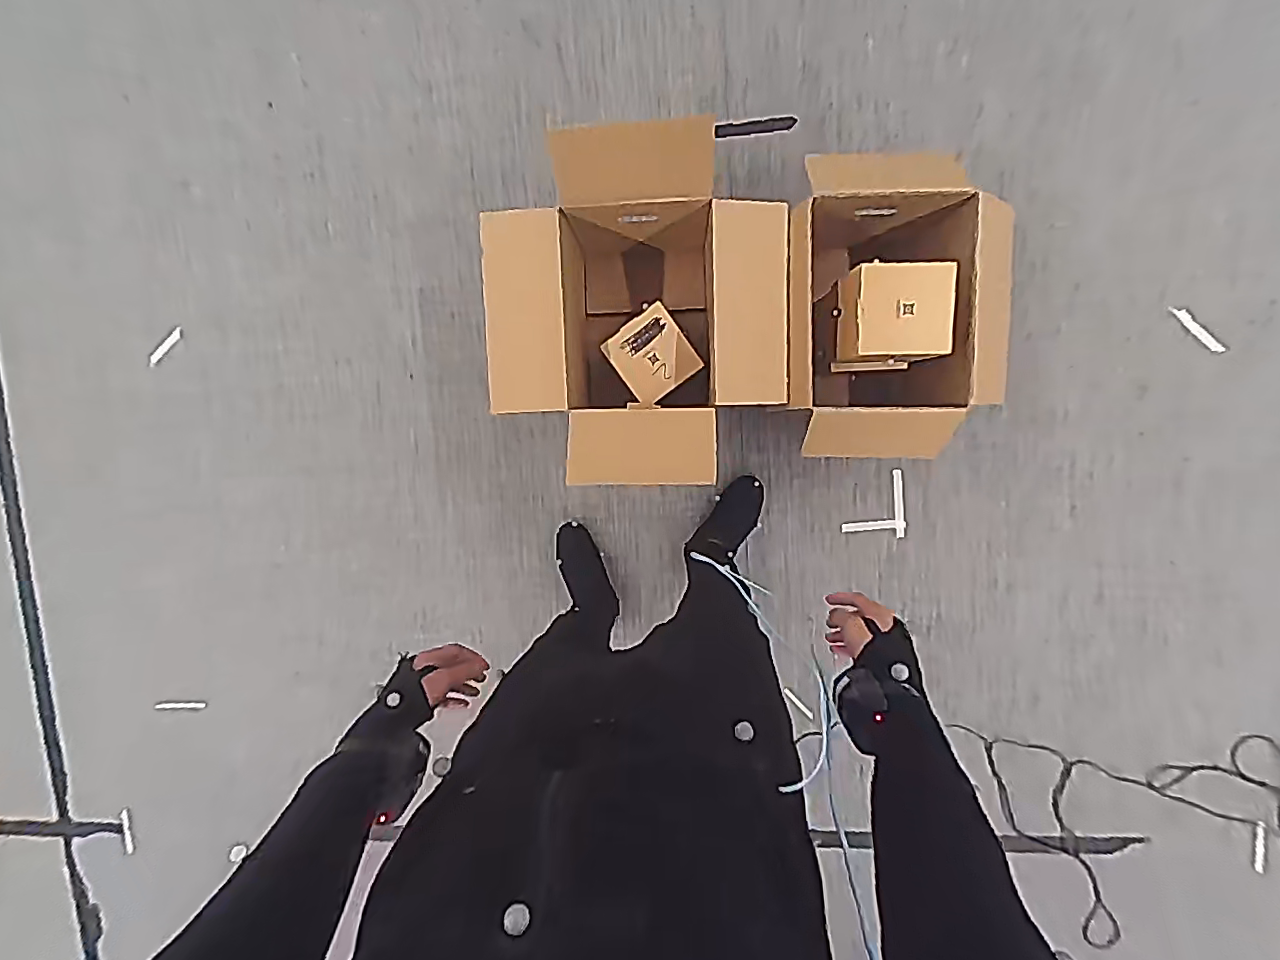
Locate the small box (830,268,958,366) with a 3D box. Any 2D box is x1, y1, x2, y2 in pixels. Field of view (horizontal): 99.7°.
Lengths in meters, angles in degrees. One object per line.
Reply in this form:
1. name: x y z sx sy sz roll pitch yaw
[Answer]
1. small box: 0.494 -0.317 1.071 0.179 0.176 0.168 0 98 3
